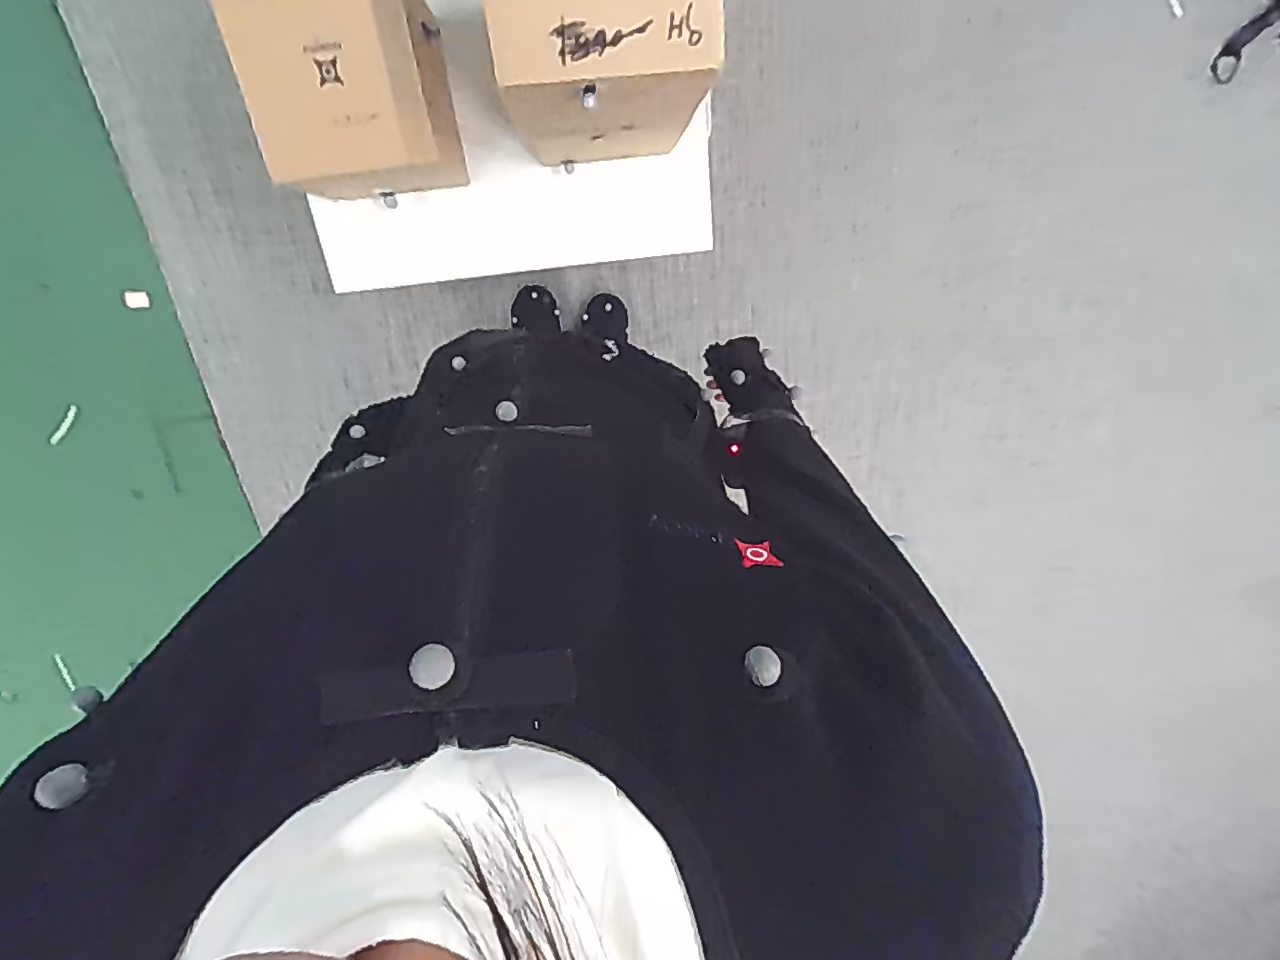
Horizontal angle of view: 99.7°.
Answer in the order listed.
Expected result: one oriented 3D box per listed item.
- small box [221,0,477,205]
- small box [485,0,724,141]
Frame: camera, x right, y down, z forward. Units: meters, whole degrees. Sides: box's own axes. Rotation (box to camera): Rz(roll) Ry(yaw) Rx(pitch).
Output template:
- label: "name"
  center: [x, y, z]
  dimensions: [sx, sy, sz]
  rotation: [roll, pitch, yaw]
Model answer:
- label: "small box"
  center: [-0.290, -0.411, 0.581]
  dimensions: [0.168, 0.176, 0.179]
  rotation: [-10, 113, 0]
- label: "small box"
  center: [-0.035, -0.396, 0.430]
  dimensions: [0.168, 0.176, 0.179]
  rotation: [-7, 111, -2]
